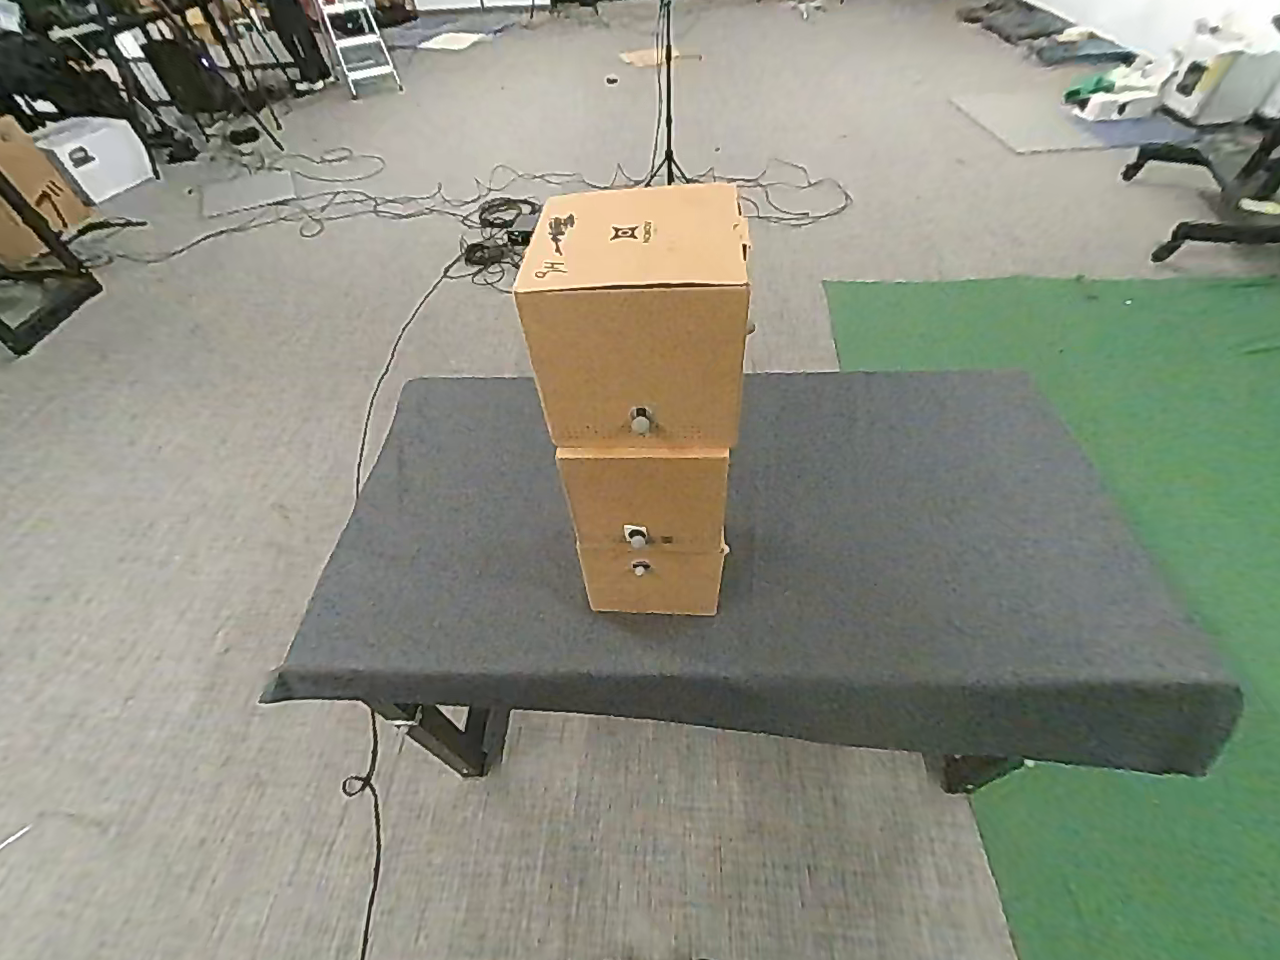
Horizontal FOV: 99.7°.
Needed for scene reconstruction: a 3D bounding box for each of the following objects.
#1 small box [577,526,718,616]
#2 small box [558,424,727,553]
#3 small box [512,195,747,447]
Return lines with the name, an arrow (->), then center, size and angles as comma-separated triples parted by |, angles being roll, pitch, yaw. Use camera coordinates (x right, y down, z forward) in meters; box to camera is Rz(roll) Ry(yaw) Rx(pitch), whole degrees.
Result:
small box -> 0.017, 0.080, 0.763 | 0.179, 0.176, 0.168 | 1, 50, 4
small box -> 0.010, -0.034, 0.627 | 0.168, 0.176, 0.179 | -1, 50, 5
small box -> 0.000, -0.144, 0.506 | 0.179, 0.176, 0.168 | 0, 49, 5
